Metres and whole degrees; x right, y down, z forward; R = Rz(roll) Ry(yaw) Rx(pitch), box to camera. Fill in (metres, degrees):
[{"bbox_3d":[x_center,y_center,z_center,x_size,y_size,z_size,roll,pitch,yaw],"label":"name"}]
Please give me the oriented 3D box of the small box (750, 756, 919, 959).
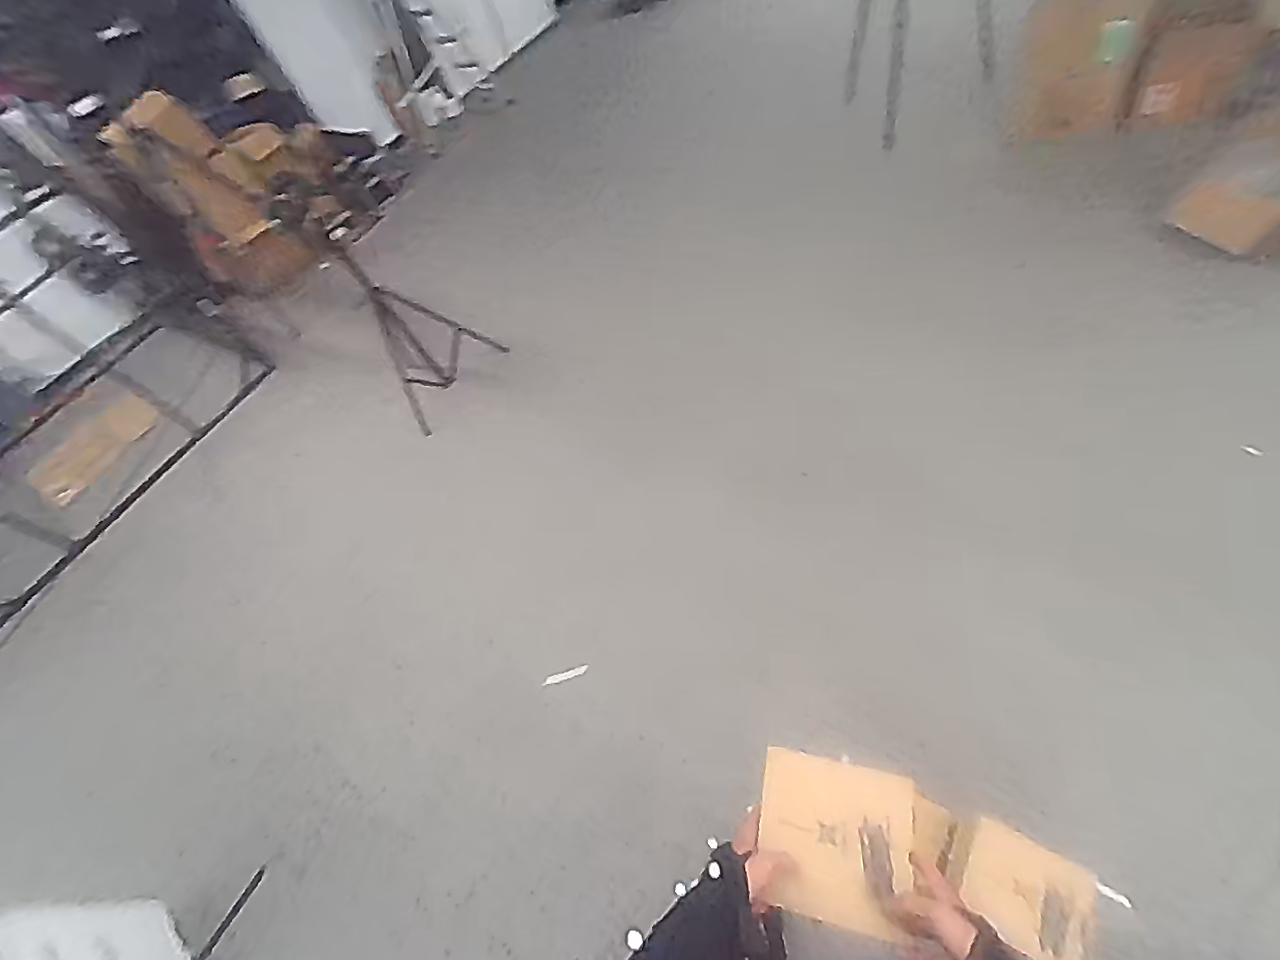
[{"bbox_3d":[0.239,0.467,0.687,0.179,0.176,0.168,5,59,16],"label":"small box"}]
